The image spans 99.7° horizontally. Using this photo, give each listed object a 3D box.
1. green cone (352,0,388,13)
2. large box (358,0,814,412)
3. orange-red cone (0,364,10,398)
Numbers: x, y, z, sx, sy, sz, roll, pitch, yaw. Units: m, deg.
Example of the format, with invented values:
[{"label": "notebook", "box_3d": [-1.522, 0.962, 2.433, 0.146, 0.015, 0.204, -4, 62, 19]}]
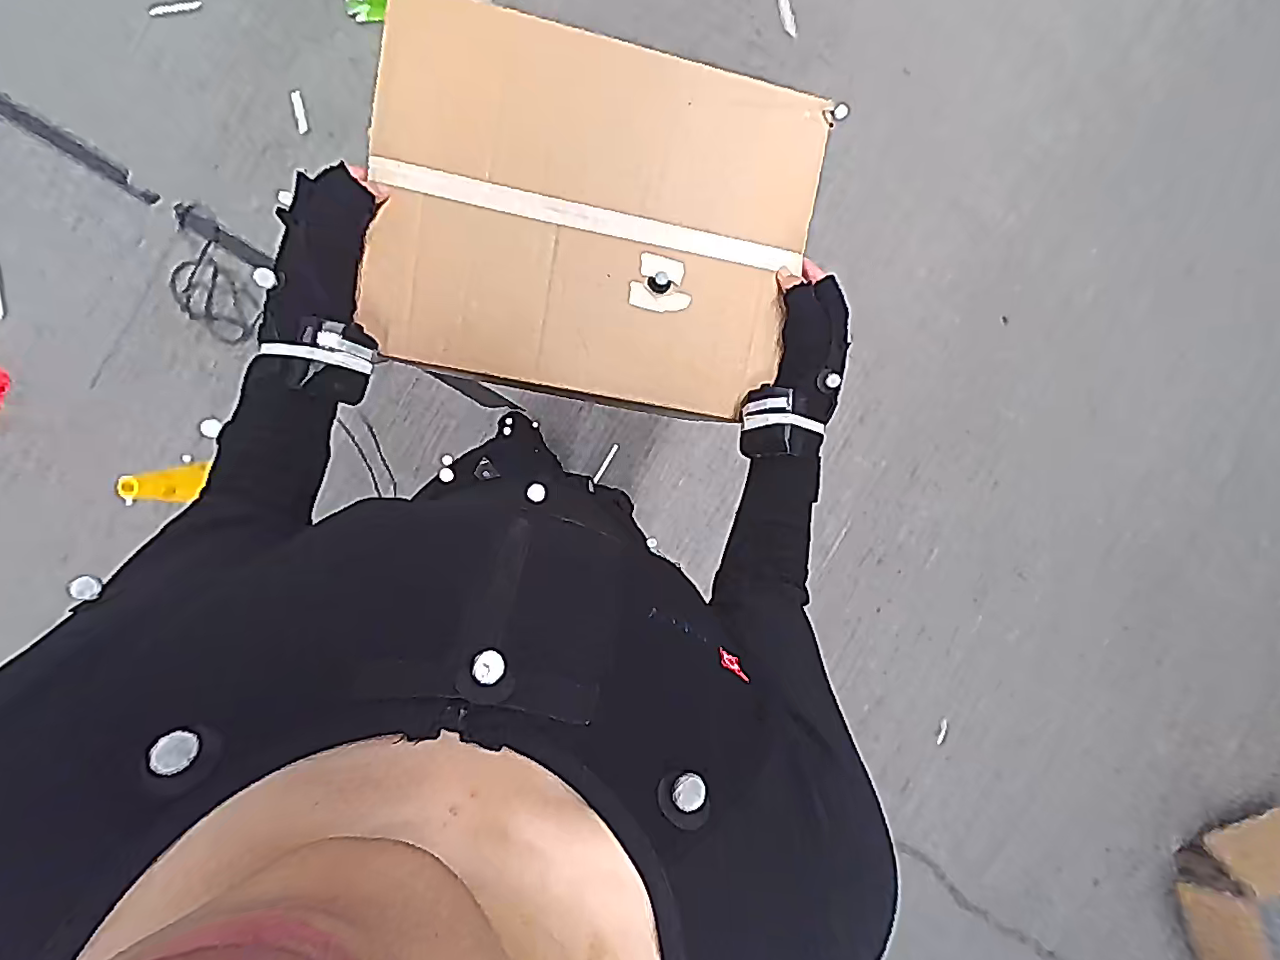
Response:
[{"label": "green cone", "box_3d": [-0.641, -1.304, 1.218, 0.200, 0.368, 0.202, -7, 91, -3]}, {"label": "large box", "box_3d": [-0.067, -0.264, 0.654, 0.408, 0.320, 0.320, 8, 96, -9]}, {"label": "orange-red cone", "box_3d": [-1.744, -0.232, 1.225, 0.199, 0.360, 0.198, 28, 92, -5]}]
